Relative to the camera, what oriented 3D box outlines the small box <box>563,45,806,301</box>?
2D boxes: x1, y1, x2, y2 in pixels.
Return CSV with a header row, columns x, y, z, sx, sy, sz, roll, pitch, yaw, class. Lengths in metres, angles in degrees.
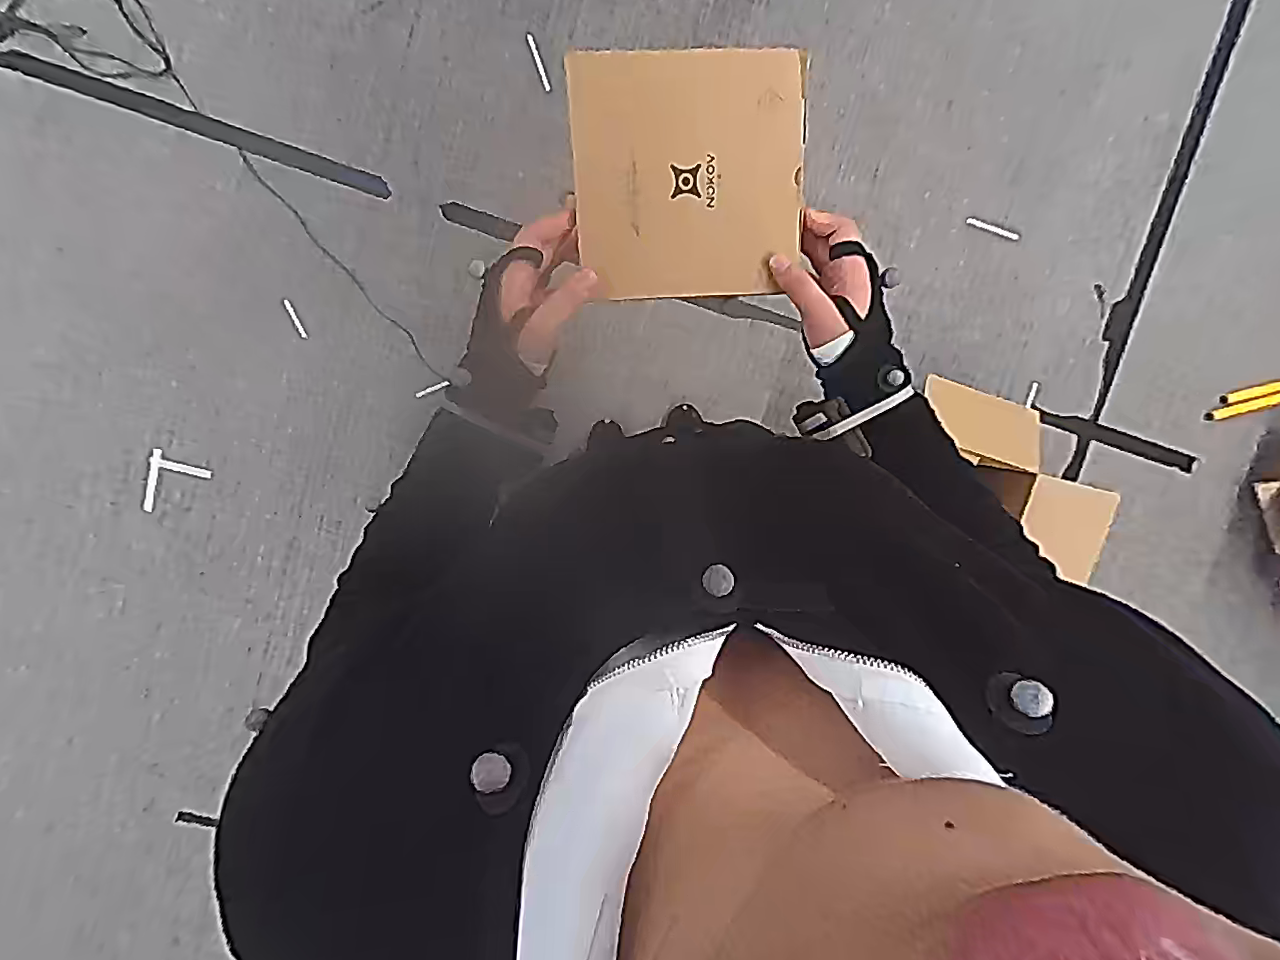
x,y,z,sx,sy,sz,roll,pitch,yaw,class
0.030,-0.250,0.479,0.179,0.176,0.168,-5,107,-2,small box
